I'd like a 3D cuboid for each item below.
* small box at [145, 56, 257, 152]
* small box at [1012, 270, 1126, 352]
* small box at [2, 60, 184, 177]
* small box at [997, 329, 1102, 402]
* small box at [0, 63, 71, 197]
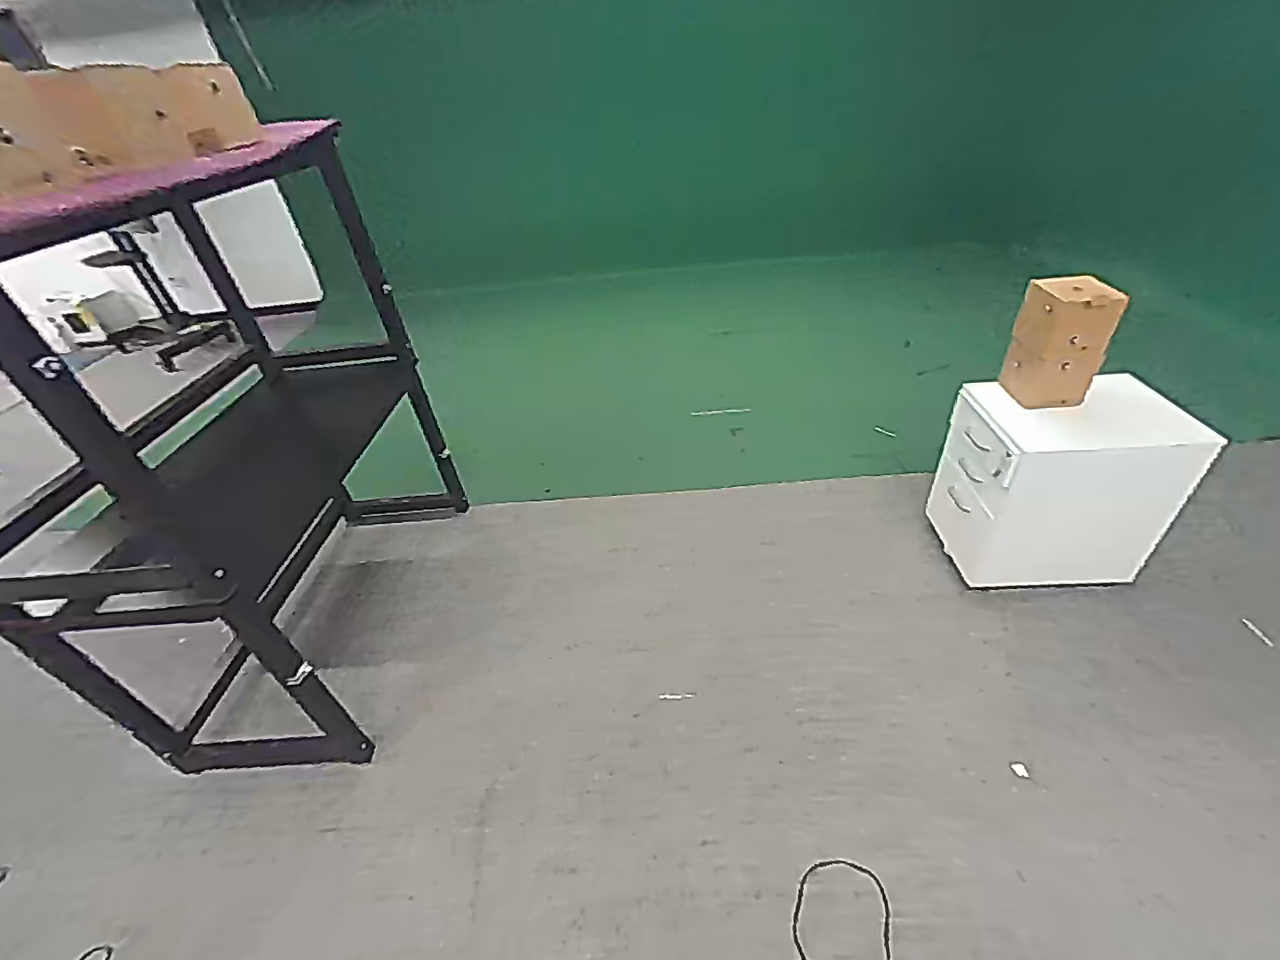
[{"bbox_3d":[-1.085,-0.906,1.311,0.168,0.176,0.179,-6,38,6],"label":"small box"},{"bbox_3d":[1.204,-0.480,1.539,0.168,0.176,0.179,-3,40,4],"label":"small box"},{"bbox_3d":[-1.055,-0.706,1.058,0.168,0.176,0.179,-6,39,2],"label":"small box"},{"bbox_3d":[1.226,-0.352,1.637,0.168,0.176,0.179,-4,39,5],"label":"small box"},{"bbox_3d":[-1.020,-0.501,0.786,0.179,0.176,0.168,-6,37,1],"label":"small box"}]
